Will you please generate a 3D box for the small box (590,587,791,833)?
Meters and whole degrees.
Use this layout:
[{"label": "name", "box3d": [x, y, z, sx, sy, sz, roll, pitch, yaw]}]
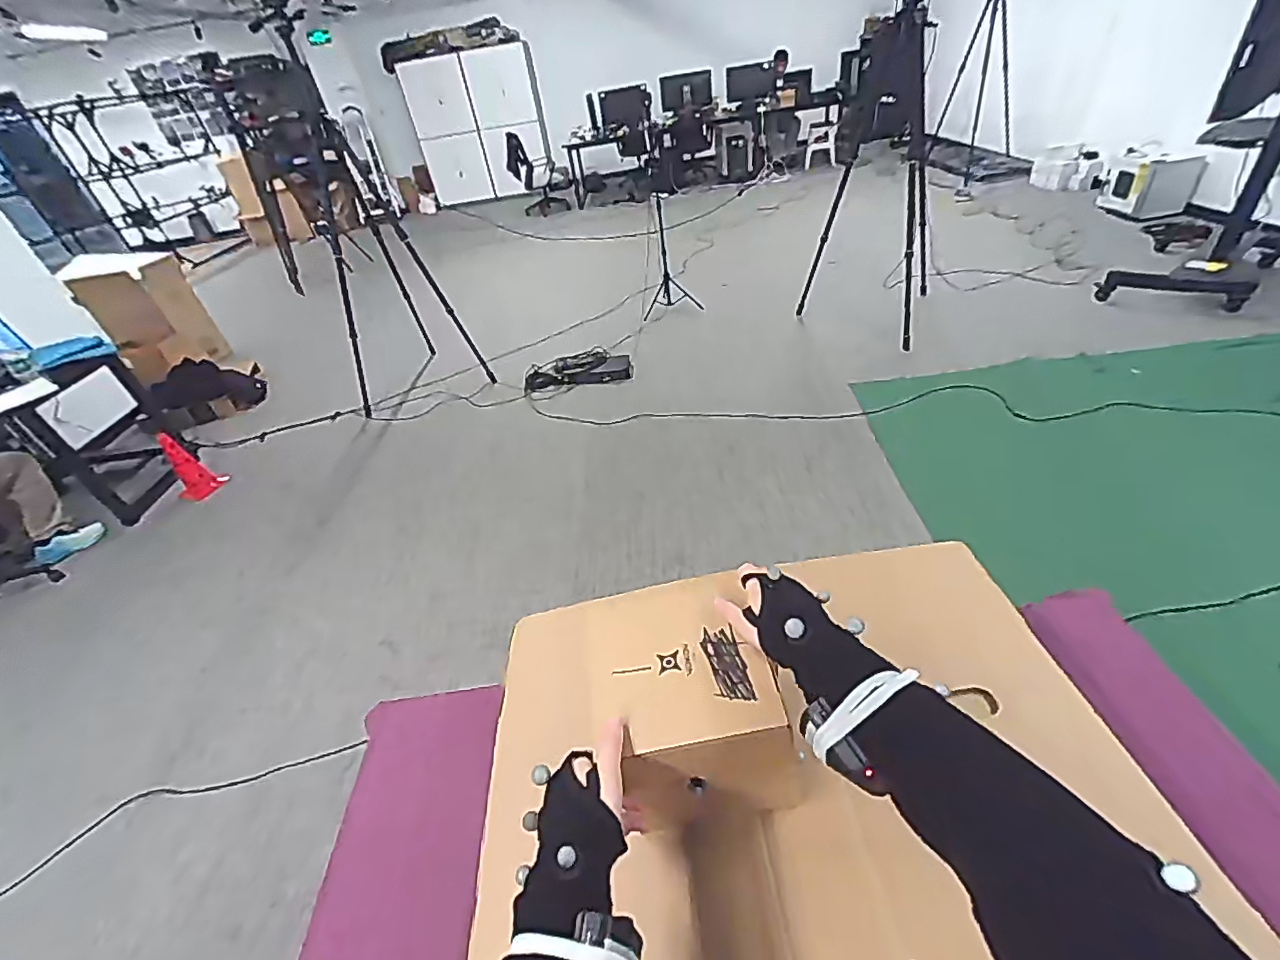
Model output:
[{"label": "small box", "box3d": [0.054, 0.245, 0.575, 0.179, 0.176, 0.168, -15, 38, 6]}]
